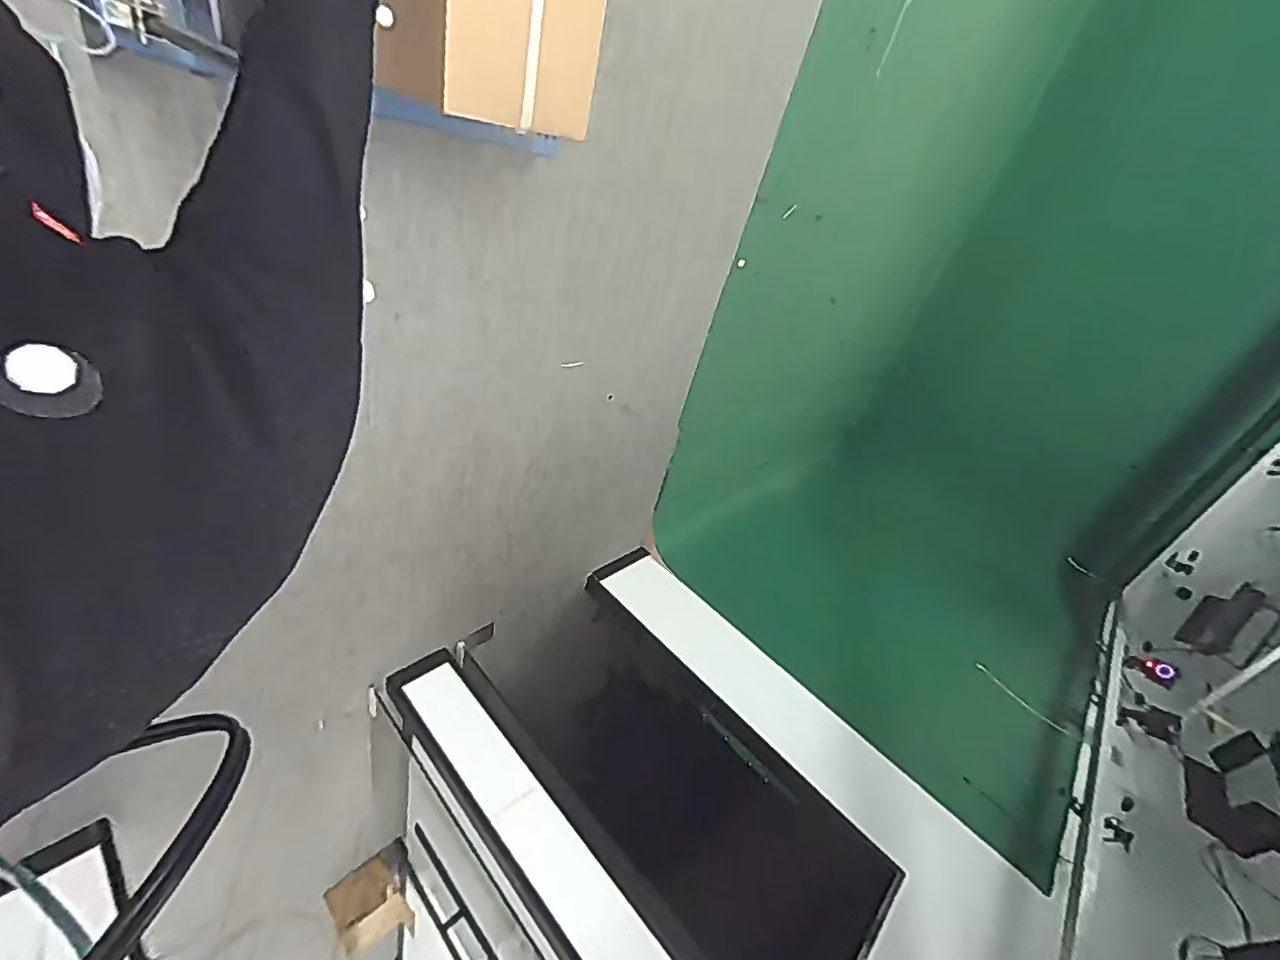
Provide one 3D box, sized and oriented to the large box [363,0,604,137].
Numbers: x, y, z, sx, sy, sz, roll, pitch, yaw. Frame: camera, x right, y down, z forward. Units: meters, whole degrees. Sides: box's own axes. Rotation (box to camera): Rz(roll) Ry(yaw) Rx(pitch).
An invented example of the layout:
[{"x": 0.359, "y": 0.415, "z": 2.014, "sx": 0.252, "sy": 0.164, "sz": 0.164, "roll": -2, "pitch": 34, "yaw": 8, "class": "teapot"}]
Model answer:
[{"x": -0.277, "y": -0.884, "z": 0.954, "sx": 0.320, "sy": 0.320, "sz": 0.408, "roll": -22, "pitch": 139, "yaw": -43, "class": "large box"}]
